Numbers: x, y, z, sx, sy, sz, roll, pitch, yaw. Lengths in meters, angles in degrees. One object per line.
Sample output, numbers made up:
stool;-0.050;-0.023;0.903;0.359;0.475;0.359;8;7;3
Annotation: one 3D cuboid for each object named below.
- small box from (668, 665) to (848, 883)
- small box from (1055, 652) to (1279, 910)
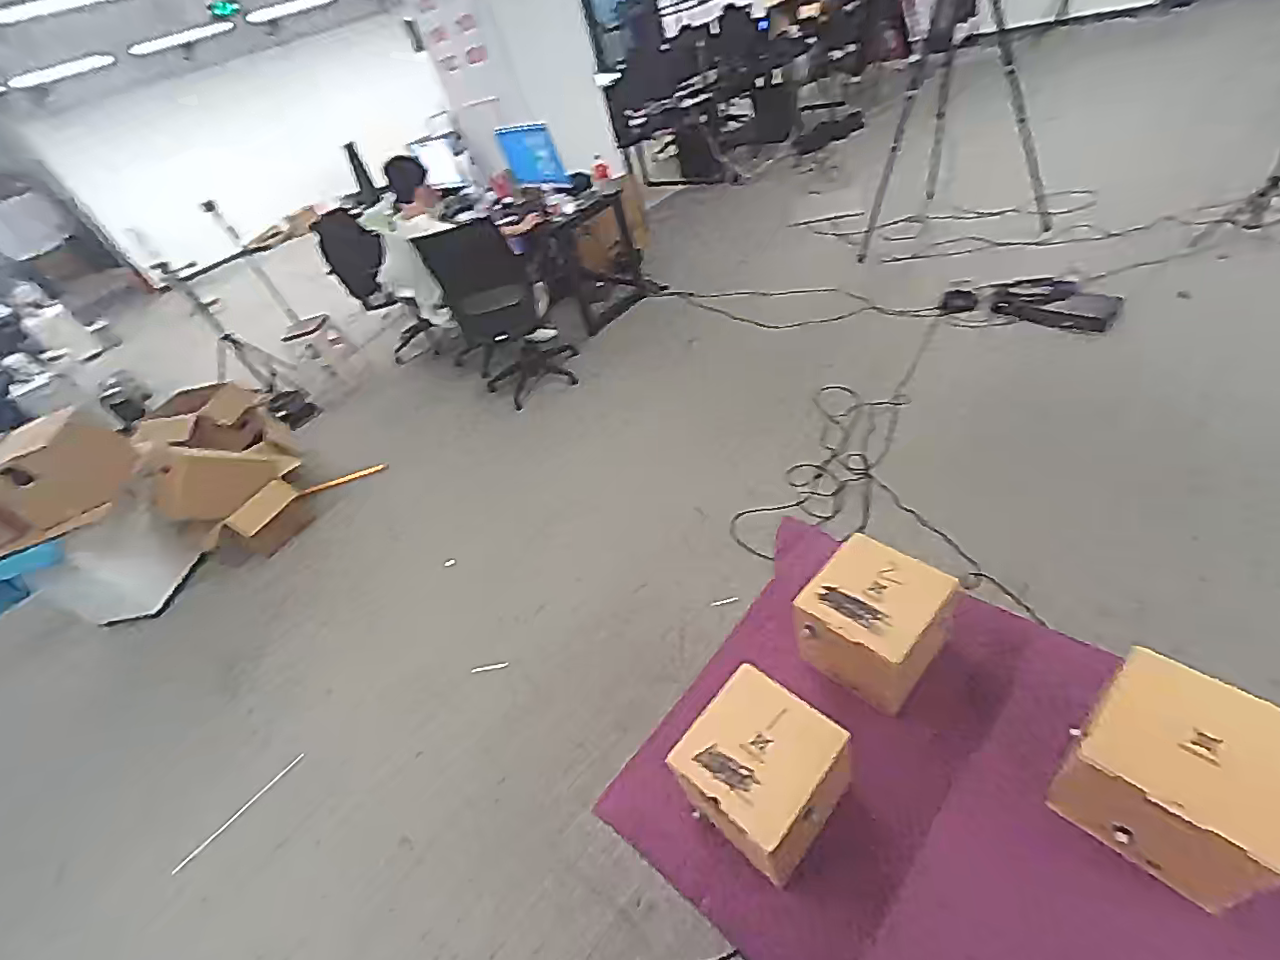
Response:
small box;0.169;0.401;0.741;0.179;0.176;0.168;-41;45;-24
small box;0.625;0.346;0.630;0.179;0.176;0.168;-41;46;-22
